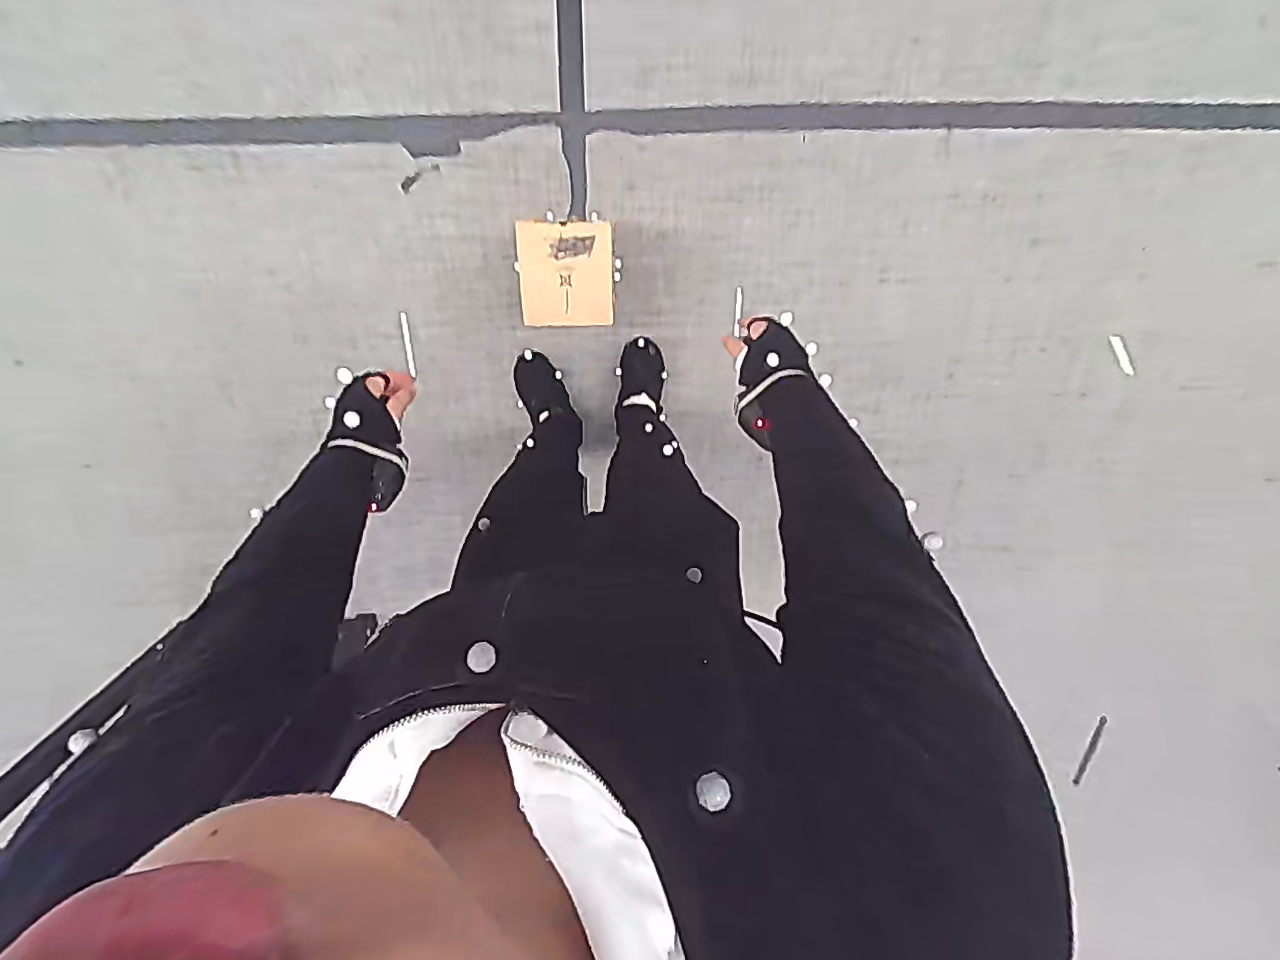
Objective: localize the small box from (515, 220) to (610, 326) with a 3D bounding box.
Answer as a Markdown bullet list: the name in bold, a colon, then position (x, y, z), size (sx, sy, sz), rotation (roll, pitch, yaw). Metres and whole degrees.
- **small box**: position (-0.140, -0.395, 1.030), size (0.168, 0.176, 0.179), rotation (-1, 115, -3)
